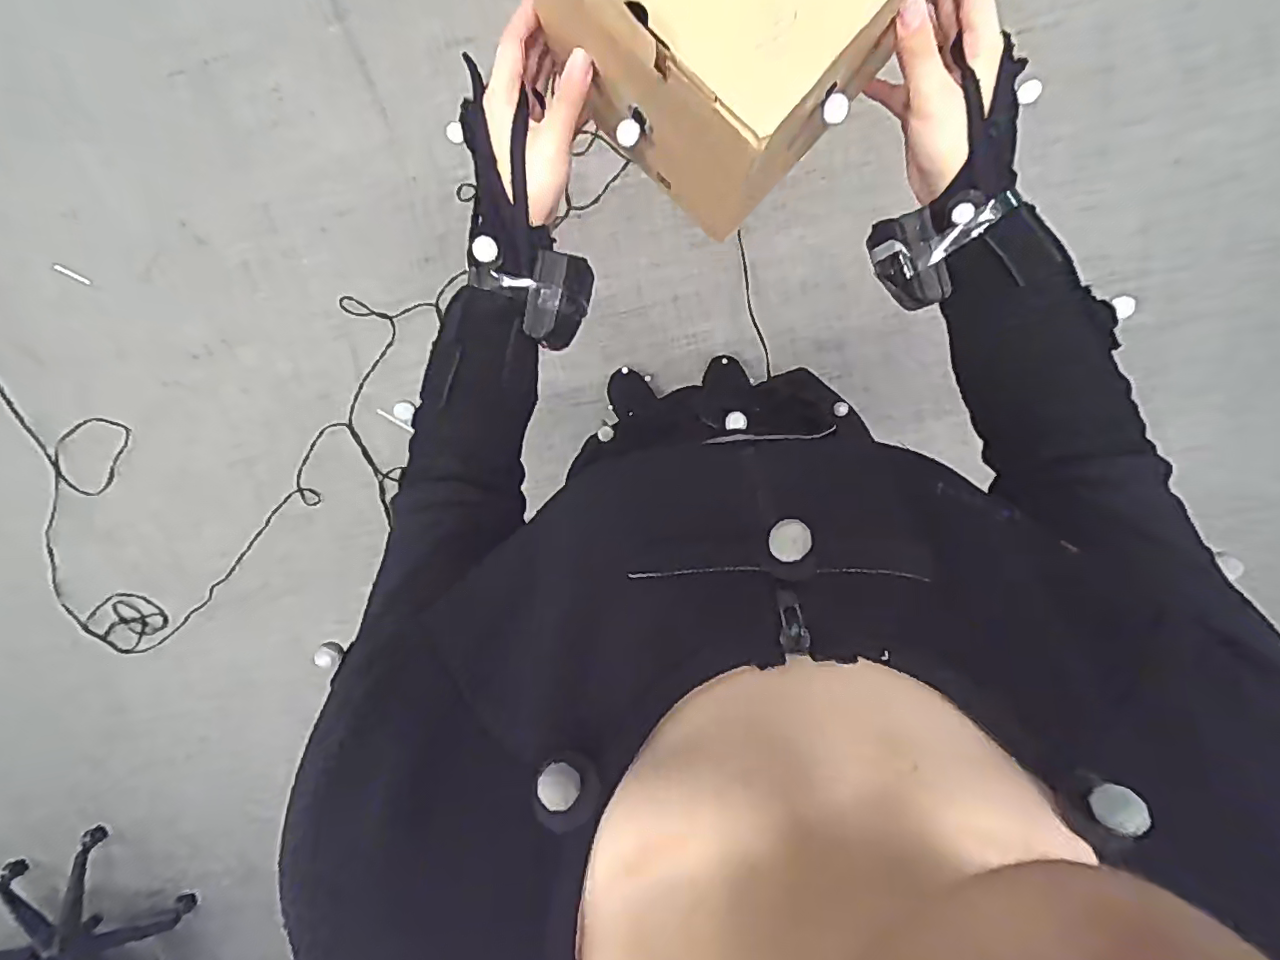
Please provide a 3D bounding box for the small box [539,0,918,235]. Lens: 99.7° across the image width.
[{"bbox_3d":[0.056,-0.284,0.323,0.168,0.176,0.179,42,99,-4],"label":"small box"}]
